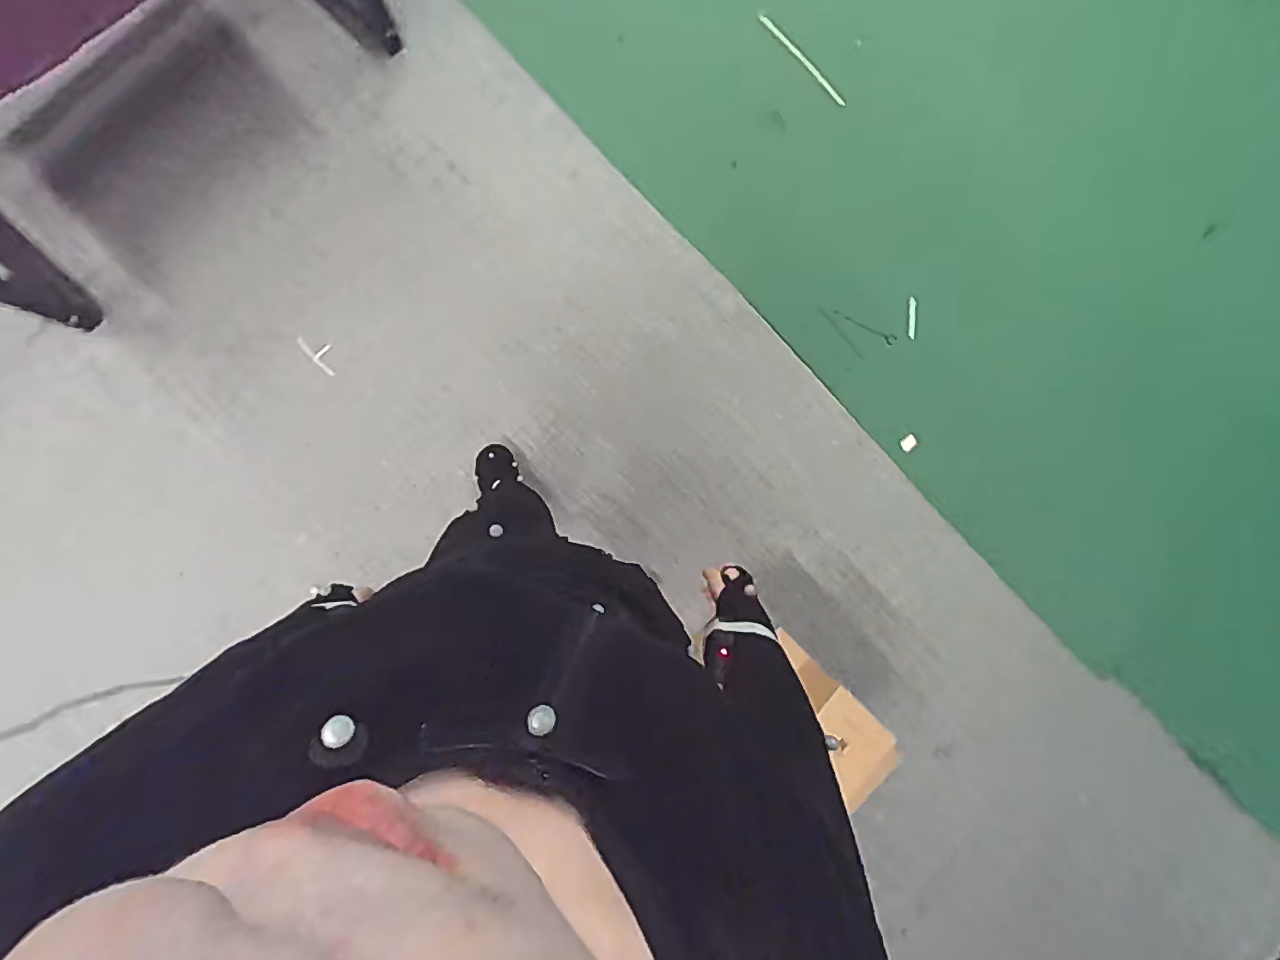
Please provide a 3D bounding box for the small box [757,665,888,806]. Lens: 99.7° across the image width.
[{"bbox_3d":[0.370,0.527,1.143,0.179,0.176,0.168,-45,94,-6],"label":"small box"}]
